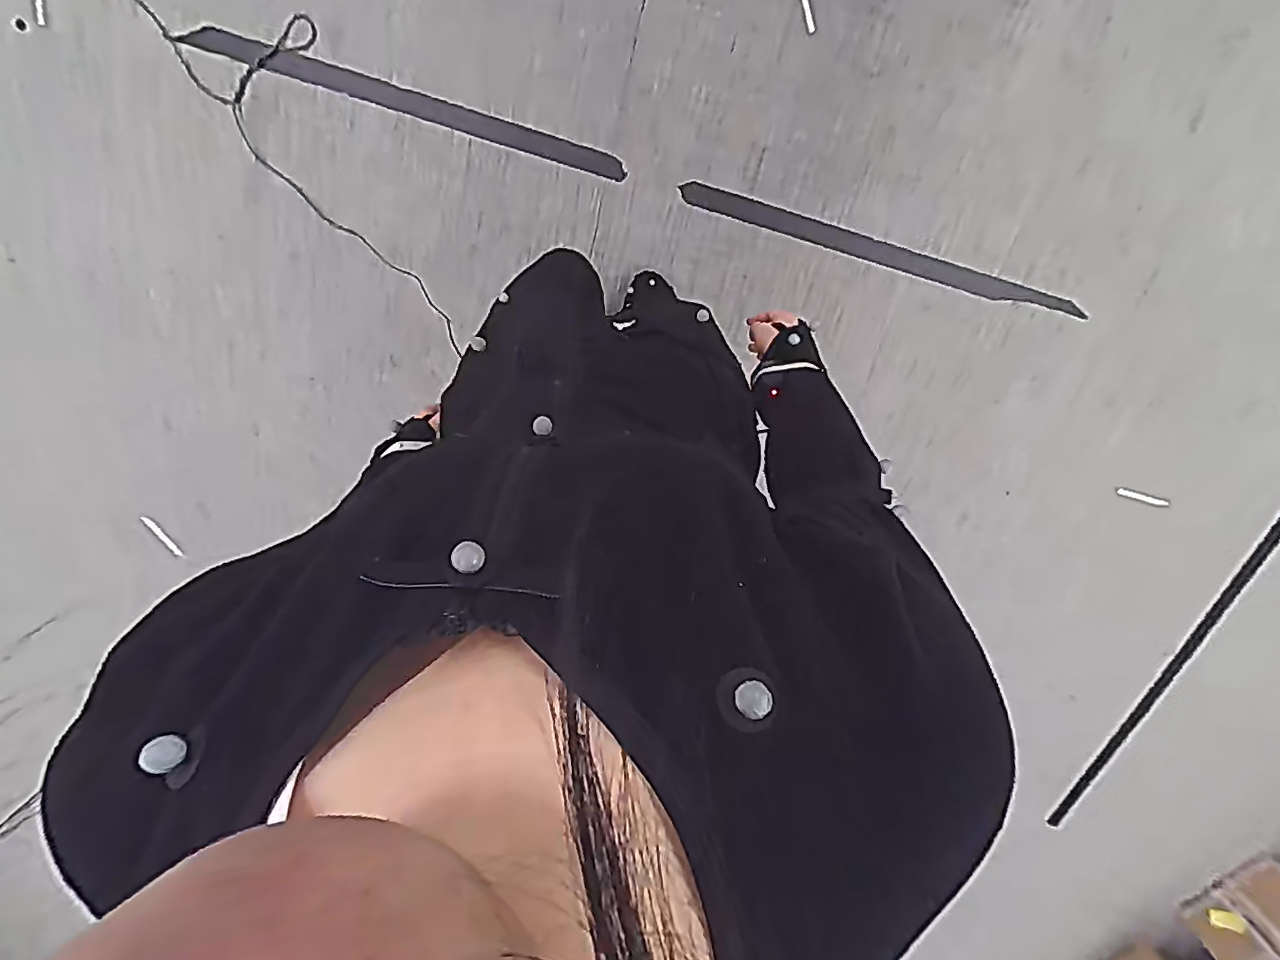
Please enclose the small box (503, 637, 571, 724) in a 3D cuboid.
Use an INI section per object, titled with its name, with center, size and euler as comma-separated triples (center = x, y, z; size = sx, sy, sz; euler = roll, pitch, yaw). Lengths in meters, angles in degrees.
[small box]
center = -0.314, 0.613, 1.671
size = 0.168, 0.176, 0.179
euler = 11, 111, -2
